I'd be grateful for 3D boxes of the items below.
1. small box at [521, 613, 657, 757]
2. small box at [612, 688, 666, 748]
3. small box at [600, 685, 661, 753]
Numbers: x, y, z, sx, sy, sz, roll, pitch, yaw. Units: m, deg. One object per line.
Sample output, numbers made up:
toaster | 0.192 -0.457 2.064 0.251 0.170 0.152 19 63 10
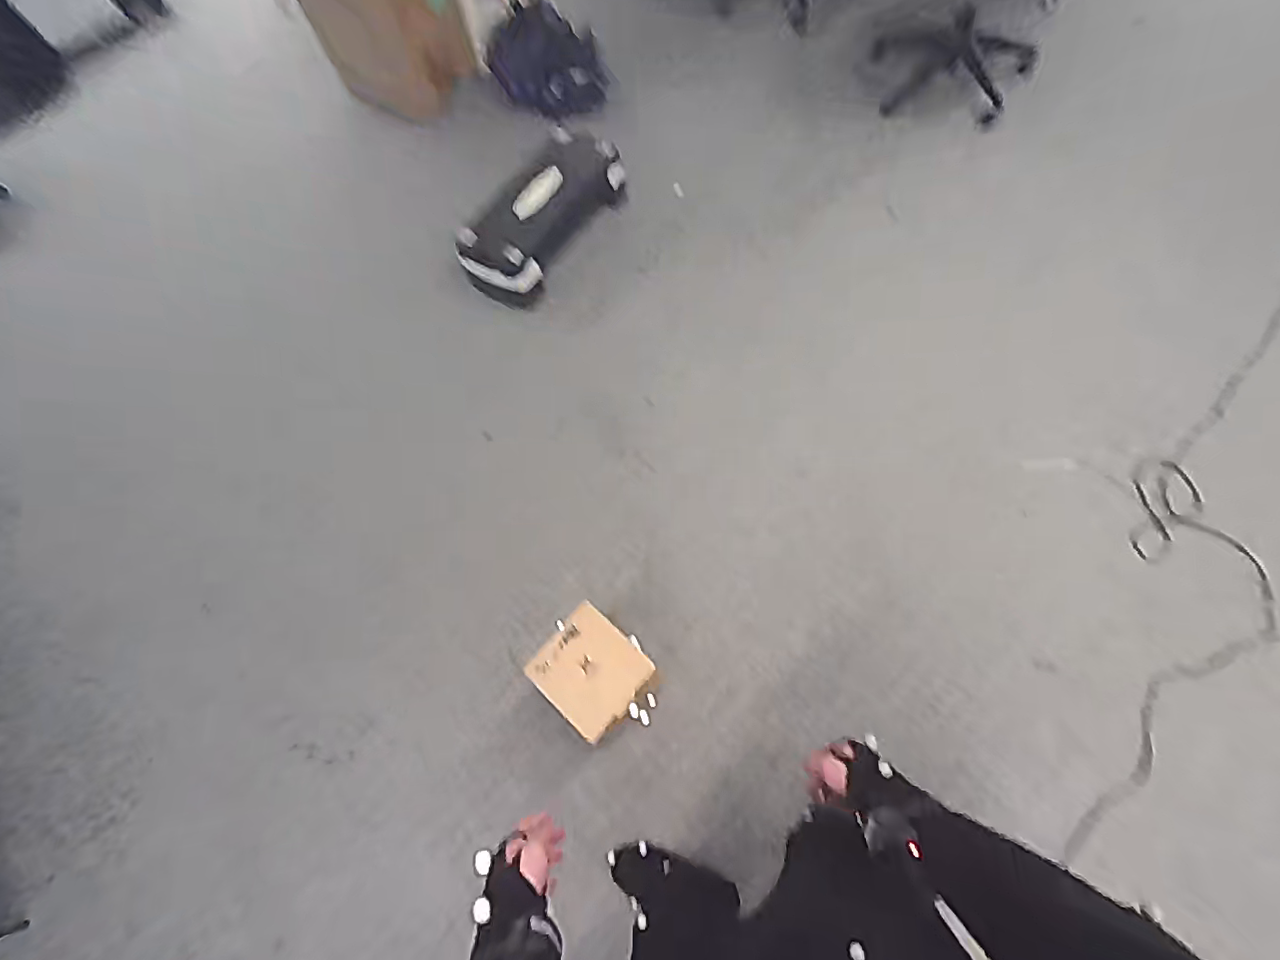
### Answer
small box | -0.083 0.375 0.996 0.179 0.176 0.168 39 74 19
small box | -0.054 0.511 1.289 0.168 0.176 0.179 -44 69 -13
small box | -0.069 0.444 1.143 0.179 0.176 0.168 40 74 22
